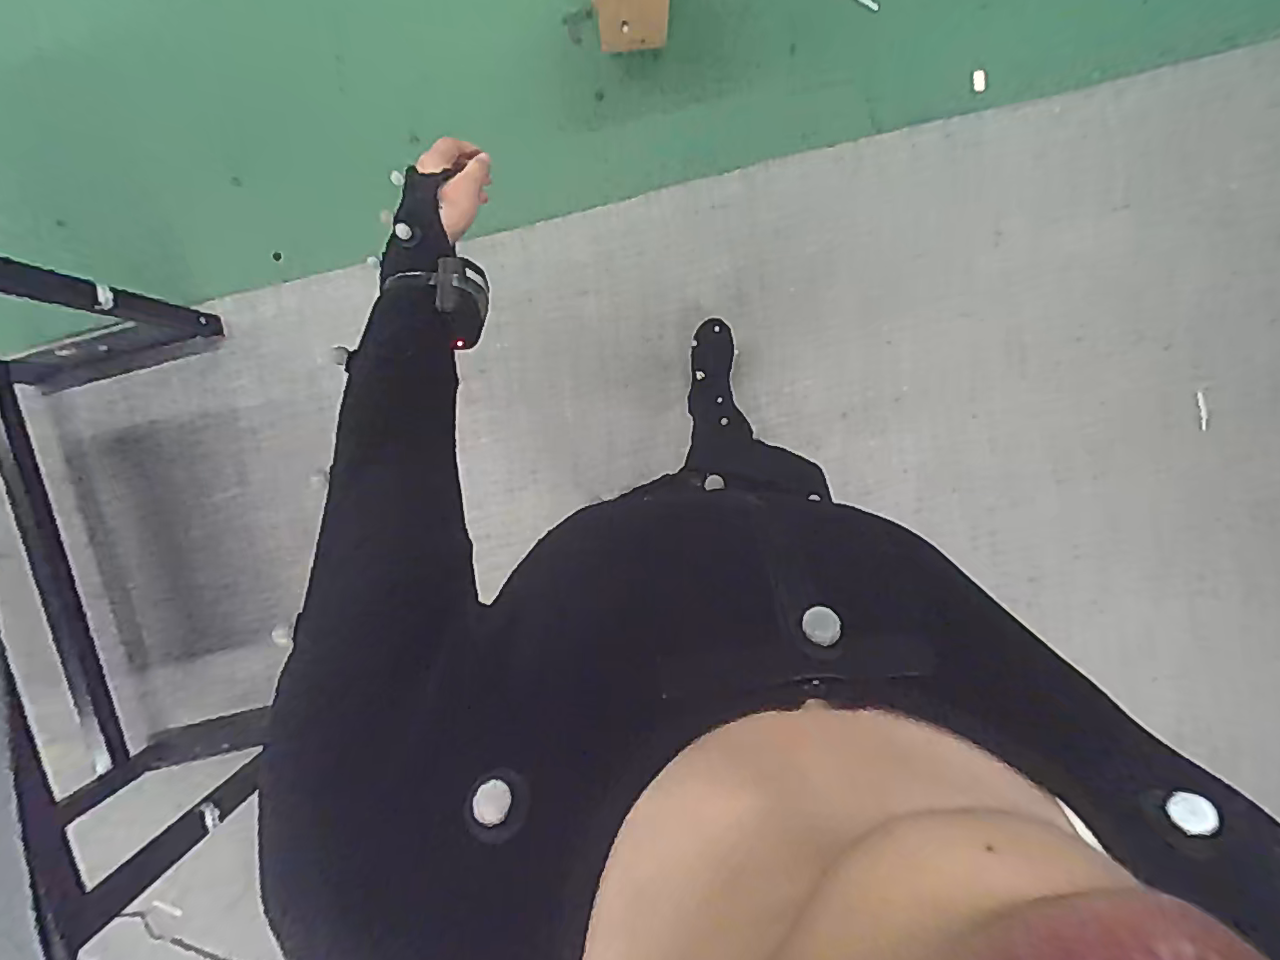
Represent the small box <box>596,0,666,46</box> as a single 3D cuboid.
[{"bbox_3d":[-0.024,-1.182,1.294,0.168,0.176,0.179,-5,95,1],"label":"small box"}]
